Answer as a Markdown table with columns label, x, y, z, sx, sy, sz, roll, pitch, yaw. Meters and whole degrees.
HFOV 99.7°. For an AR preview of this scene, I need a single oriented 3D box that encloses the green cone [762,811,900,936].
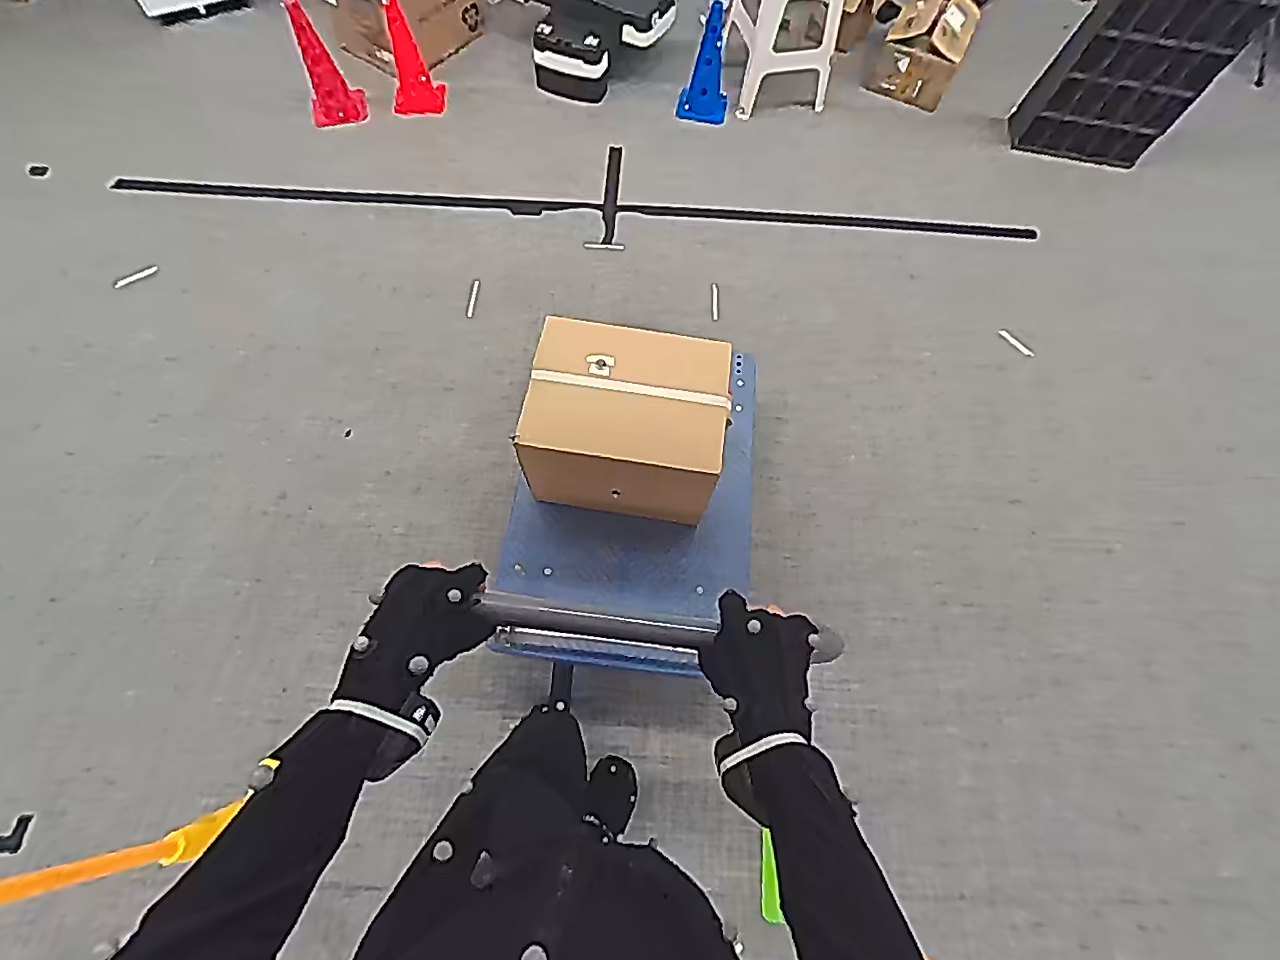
| label | x | y | z | sx | sy | sz | roll | pitch | yaw |
| --- | --- | --- | --- | --- | --- | --- | --- | --- | --- |
| green cone | 0.375 | 0.774 | 1.017 | 0.202 | 0.368 | 0.200 | 7 | 66 | -1 |

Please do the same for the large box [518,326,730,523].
| label | x | y | z | sx | sy | sz | roll | pitch | yaw |
| --- | --- | --- | --- | --- | --- | --- | --- | --- | --- |
| large box | -0.025 | -0.111 | 1.237 | 0.408 | 0.320 | 0.320 | 9 | 66 | 2 |
